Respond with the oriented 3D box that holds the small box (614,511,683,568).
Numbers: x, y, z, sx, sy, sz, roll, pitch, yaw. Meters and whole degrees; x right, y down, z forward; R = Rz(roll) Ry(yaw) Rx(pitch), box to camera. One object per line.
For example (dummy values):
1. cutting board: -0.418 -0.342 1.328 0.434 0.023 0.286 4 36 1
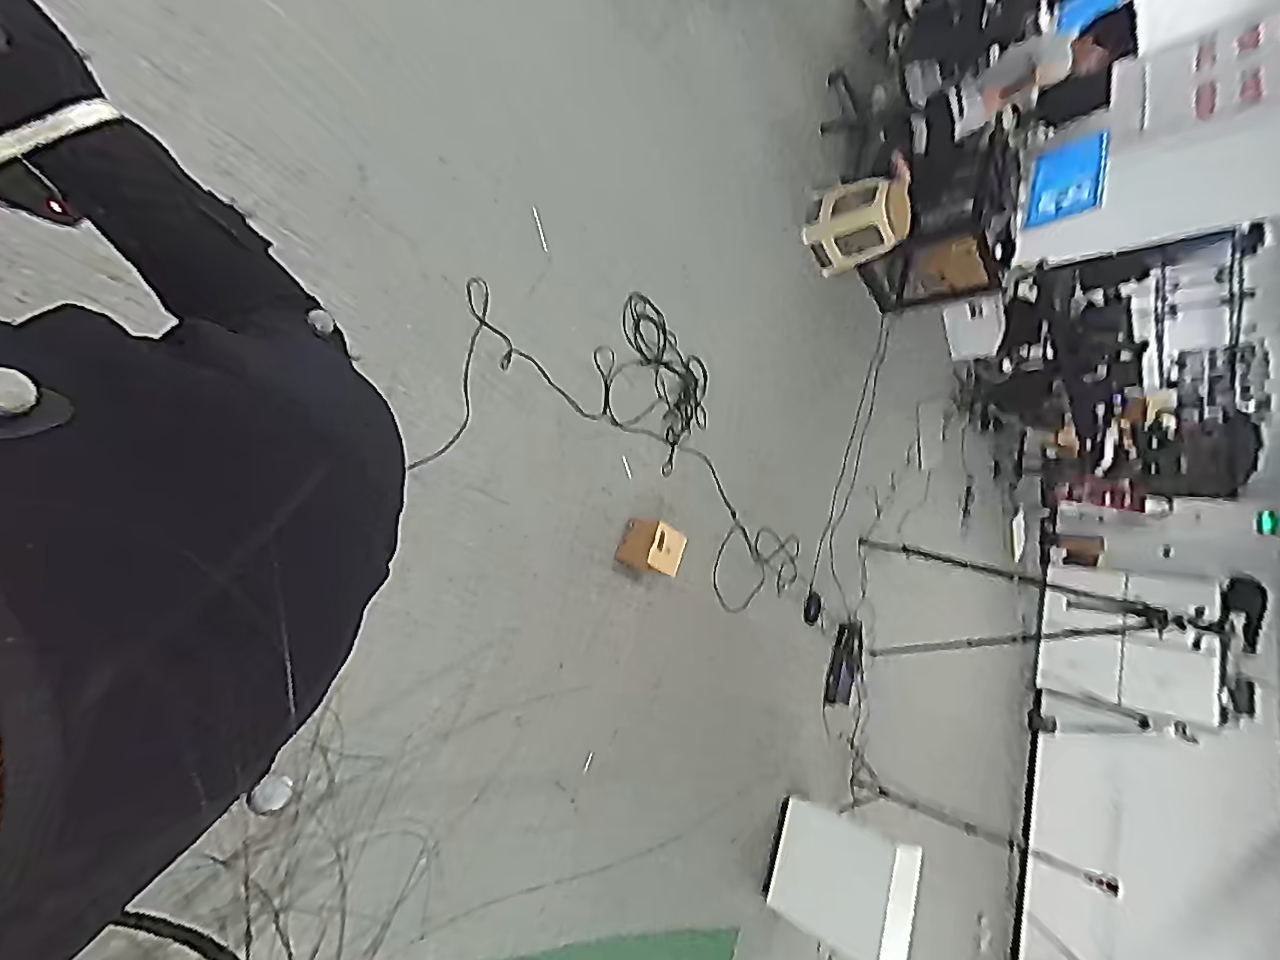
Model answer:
1. small box: 0.030 0.226 2.083 0.179 0.176 0.168 36 66 -40
